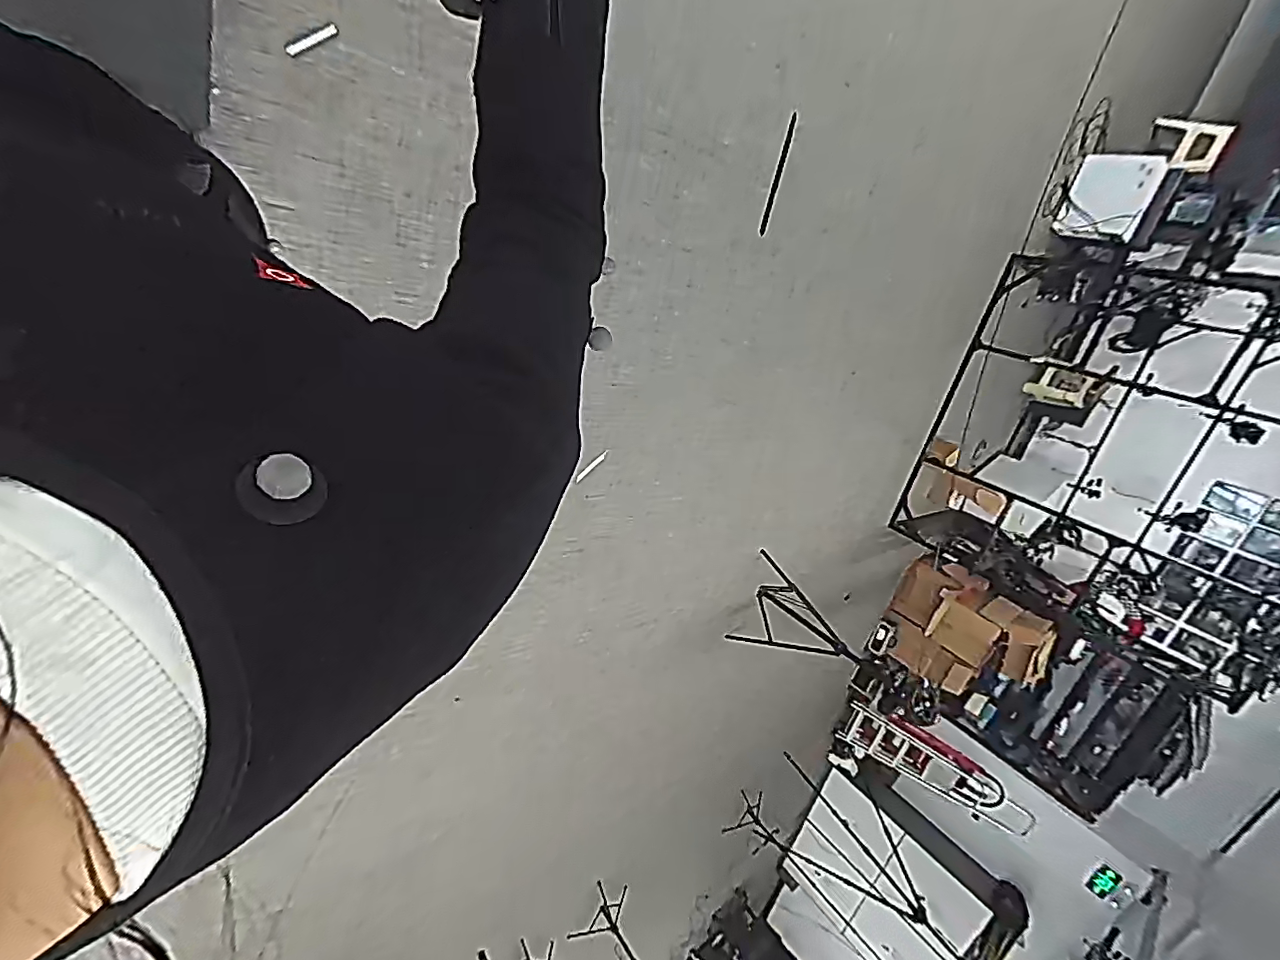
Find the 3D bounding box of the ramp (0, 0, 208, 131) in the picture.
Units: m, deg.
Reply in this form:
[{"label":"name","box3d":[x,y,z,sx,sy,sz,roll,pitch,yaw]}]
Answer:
[{"label":"ramp","box3d":[-0.807,-1.043,0.632,0.509,0.206,0.991,-4,119,-43]}]
